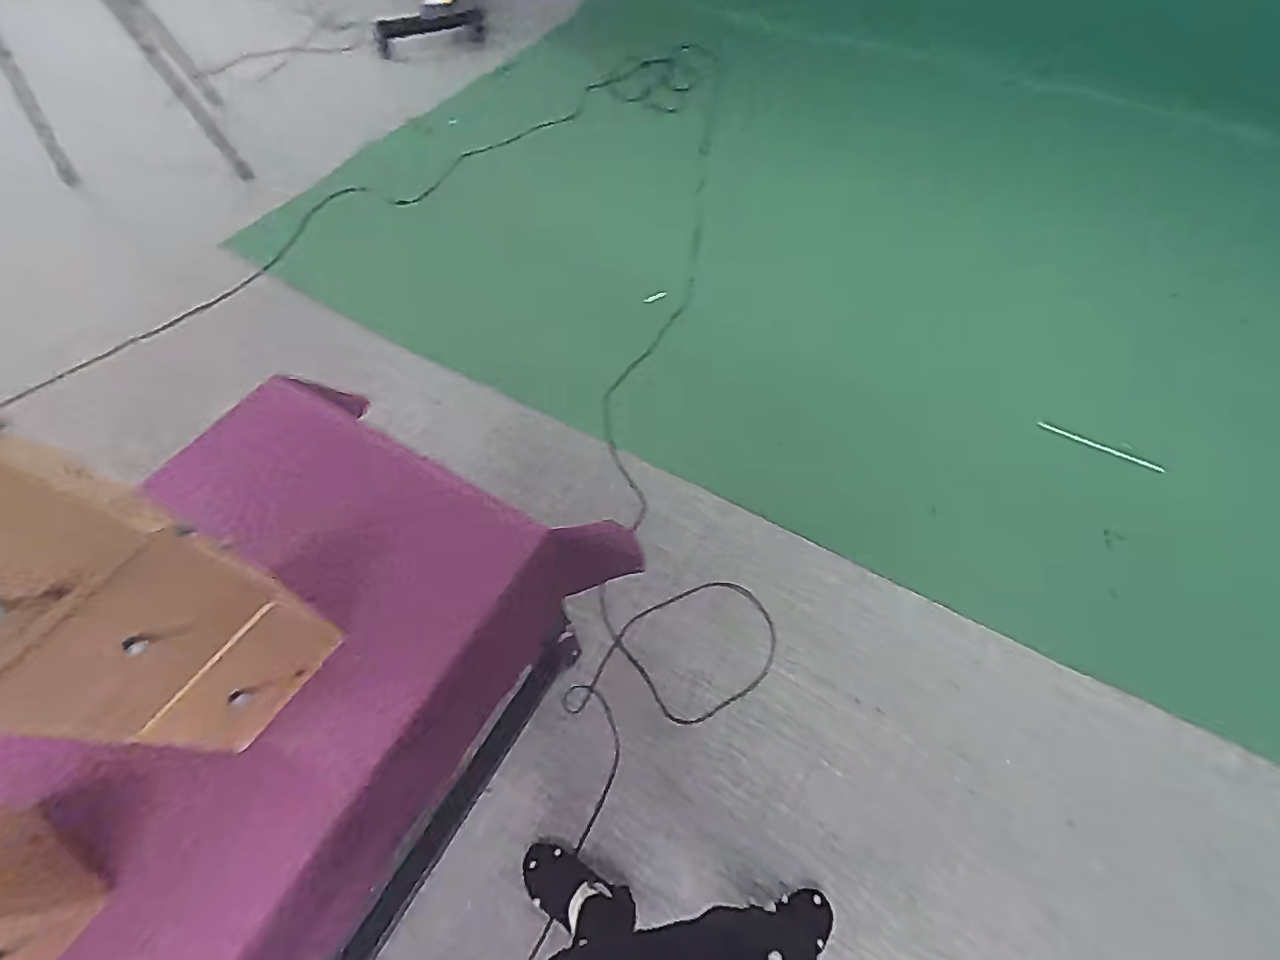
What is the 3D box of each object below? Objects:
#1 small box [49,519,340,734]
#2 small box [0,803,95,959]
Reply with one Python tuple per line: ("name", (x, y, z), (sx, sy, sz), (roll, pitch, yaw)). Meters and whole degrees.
("small box", (-0.509, 0.182, 0.650), (0.179, 0.176, 0.168), (28, 64, 17))
("small box", (-0.684, 0.430, 0.505), (0.168, 0.176, 0.179), (27, 64, 16))
